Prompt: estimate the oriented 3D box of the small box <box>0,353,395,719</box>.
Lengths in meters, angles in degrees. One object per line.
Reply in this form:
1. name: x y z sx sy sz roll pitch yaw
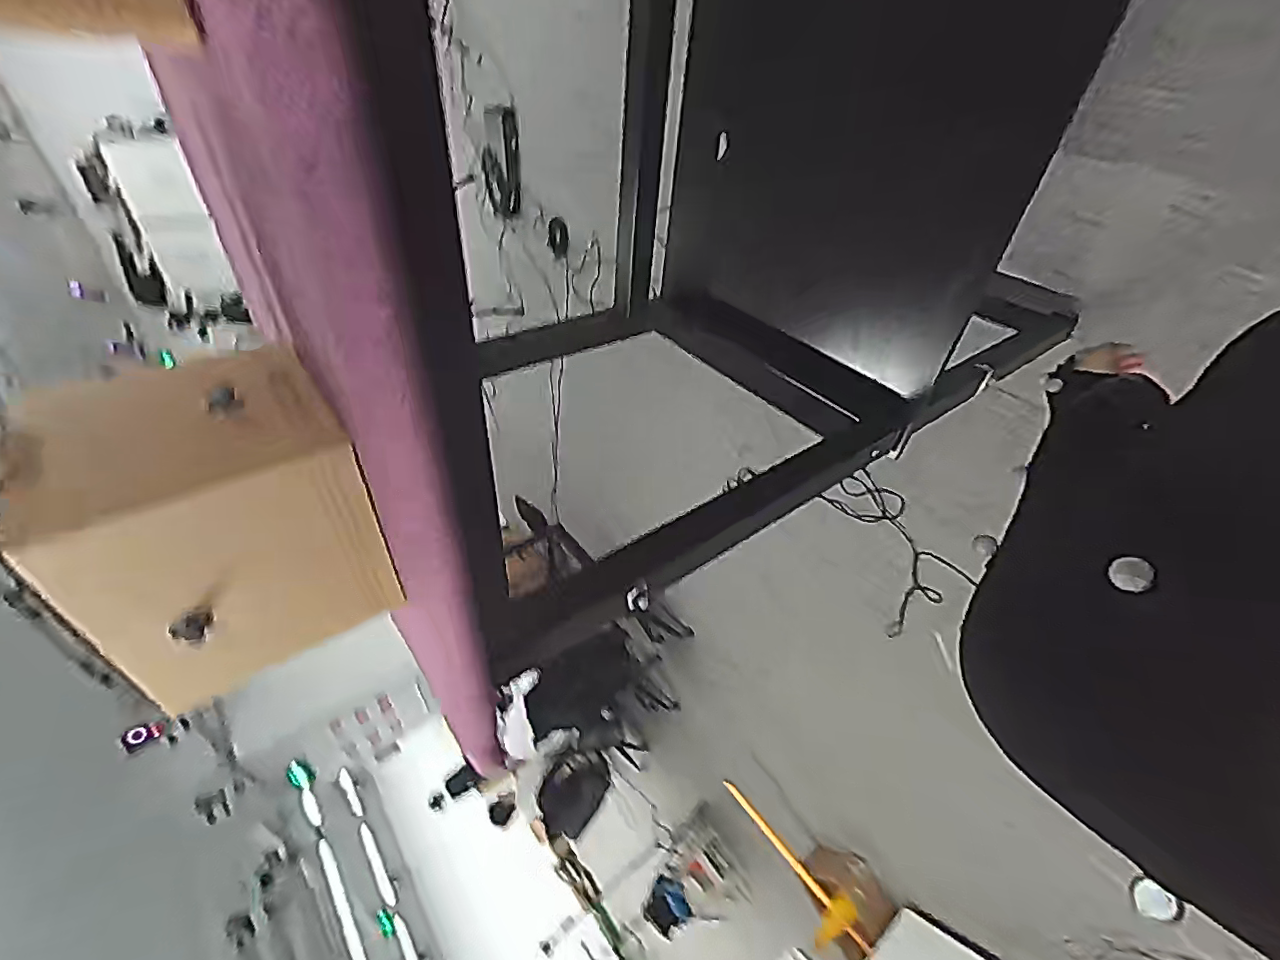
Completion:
1. small box: -0.305 0.030 0.405 0.168 0.176 0.179 40 141 34
